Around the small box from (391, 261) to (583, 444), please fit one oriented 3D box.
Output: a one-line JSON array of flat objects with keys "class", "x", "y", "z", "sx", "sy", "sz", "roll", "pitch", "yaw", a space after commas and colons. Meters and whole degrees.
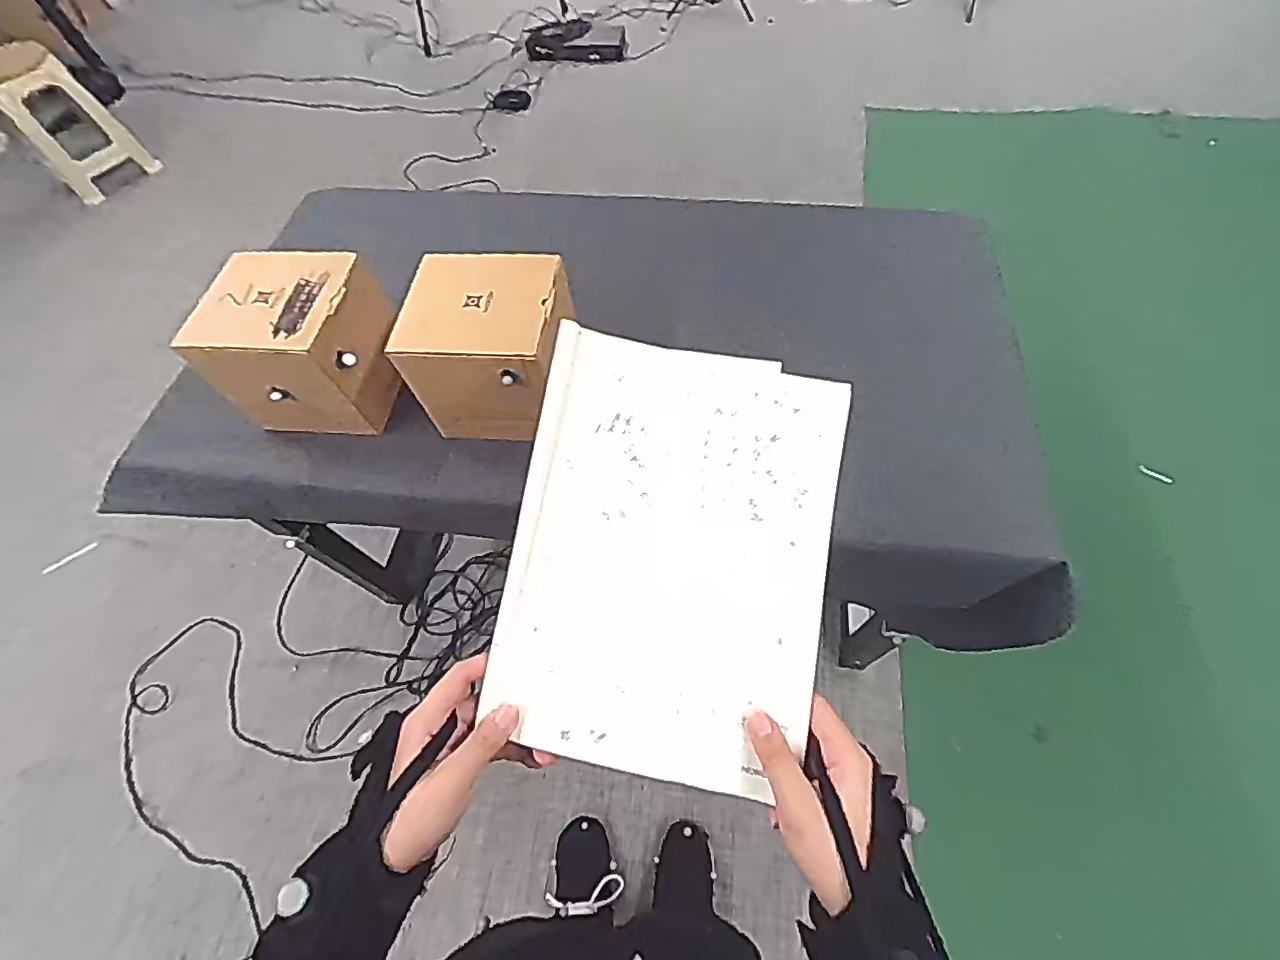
[{"class": "small box", "x": -0.181, "y": -0.159, "z": 0.700, "sx": 0.179, "sy": 0.176, "sz": 0.168, "roll": 2, "pitch": 60, "yaw": 5}]
